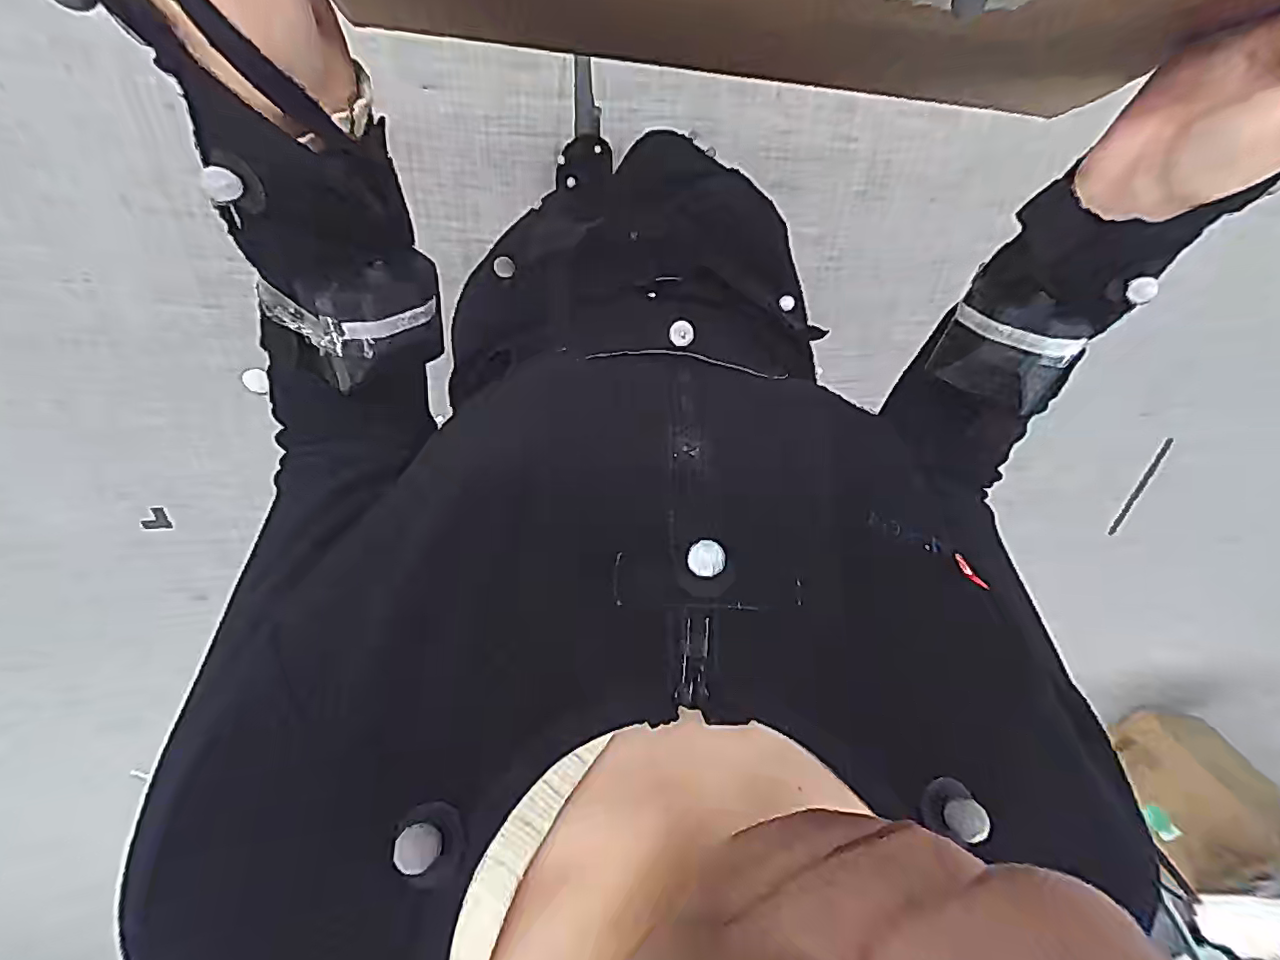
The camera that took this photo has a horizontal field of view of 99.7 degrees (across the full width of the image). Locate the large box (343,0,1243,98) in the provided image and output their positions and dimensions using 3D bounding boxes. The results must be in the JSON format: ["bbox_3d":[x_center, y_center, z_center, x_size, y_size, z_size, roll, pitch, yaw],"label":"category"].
[{"bbox_3d":[0.071,-0.347,0.125,0.408,0.320,0.320,1,104,-7],"label":"large box"}]
